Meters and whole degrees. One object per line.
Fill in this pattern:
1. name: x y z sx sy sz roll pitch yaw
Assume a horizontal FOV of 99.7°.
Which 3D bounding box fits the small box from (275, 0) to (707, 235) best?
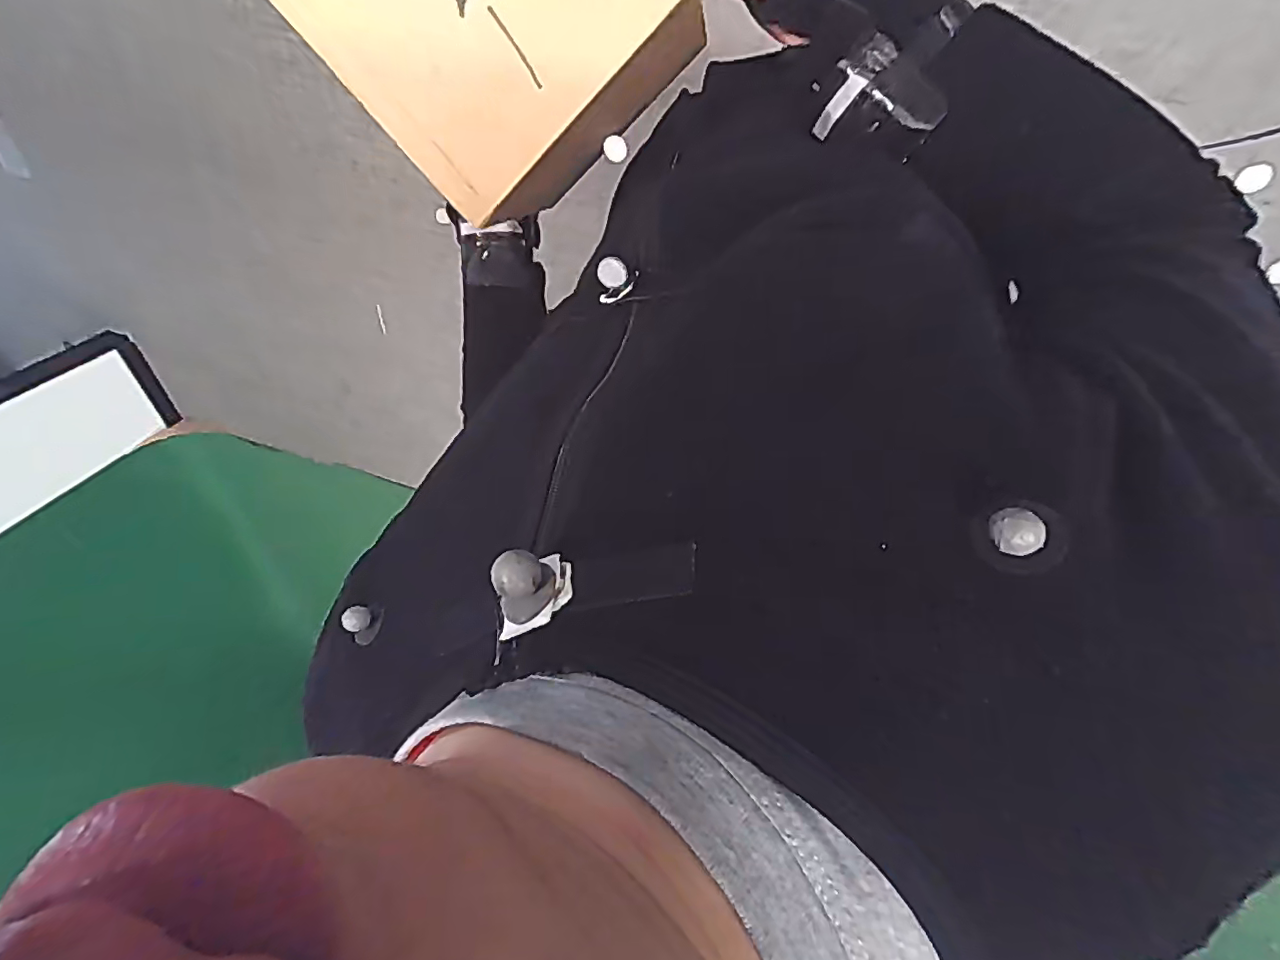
1. small box: -0.075 -0.281 0.326 0.168 0.176 0.179 -34 111 24
